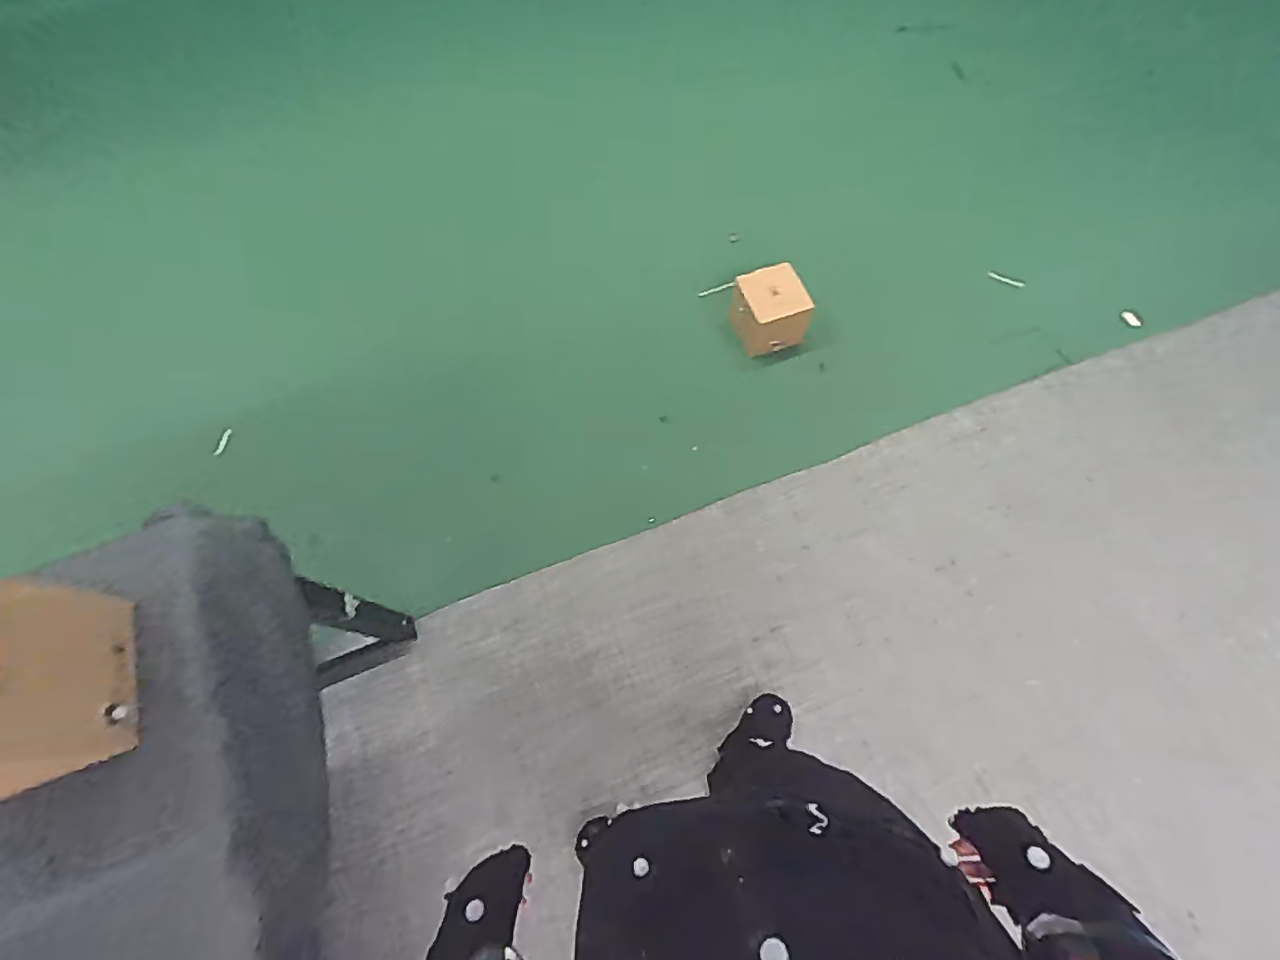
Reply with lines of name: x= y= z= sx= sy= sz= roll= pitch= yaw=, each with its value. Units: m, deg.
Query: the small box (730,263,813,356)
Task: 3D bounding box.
small box: x=0.375 y=-0.495 z=1.585 sx=0.168 sy=0.176 sz=0.179 roll=-19 pitch=70 yaw=-6
